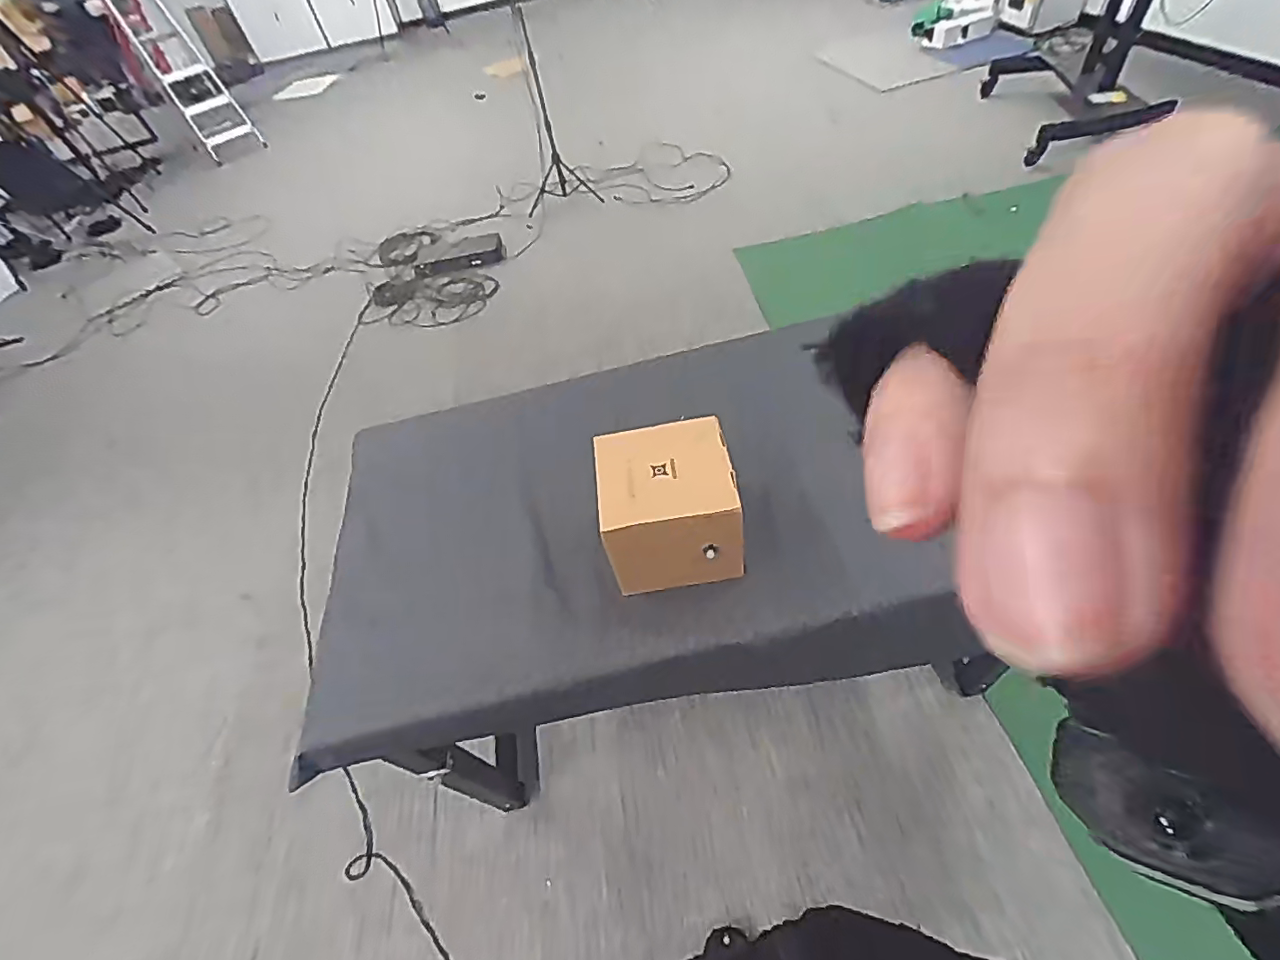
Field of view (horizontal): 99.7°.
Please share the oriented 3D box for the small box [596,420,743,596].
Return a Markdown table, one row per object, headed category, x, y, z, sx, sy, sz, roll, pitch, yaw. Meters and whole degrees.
| category | x | y | z | sx | sy | sz | roll | pitch | yaw |
| --- | --- | --- | --- | --- | --- | --- | --- | --- | --- |
| small box | 0.043 | 0.043 | 0.765 | 0.179 | 0.176 | 0.168 | -11 | 49 | 3 |
